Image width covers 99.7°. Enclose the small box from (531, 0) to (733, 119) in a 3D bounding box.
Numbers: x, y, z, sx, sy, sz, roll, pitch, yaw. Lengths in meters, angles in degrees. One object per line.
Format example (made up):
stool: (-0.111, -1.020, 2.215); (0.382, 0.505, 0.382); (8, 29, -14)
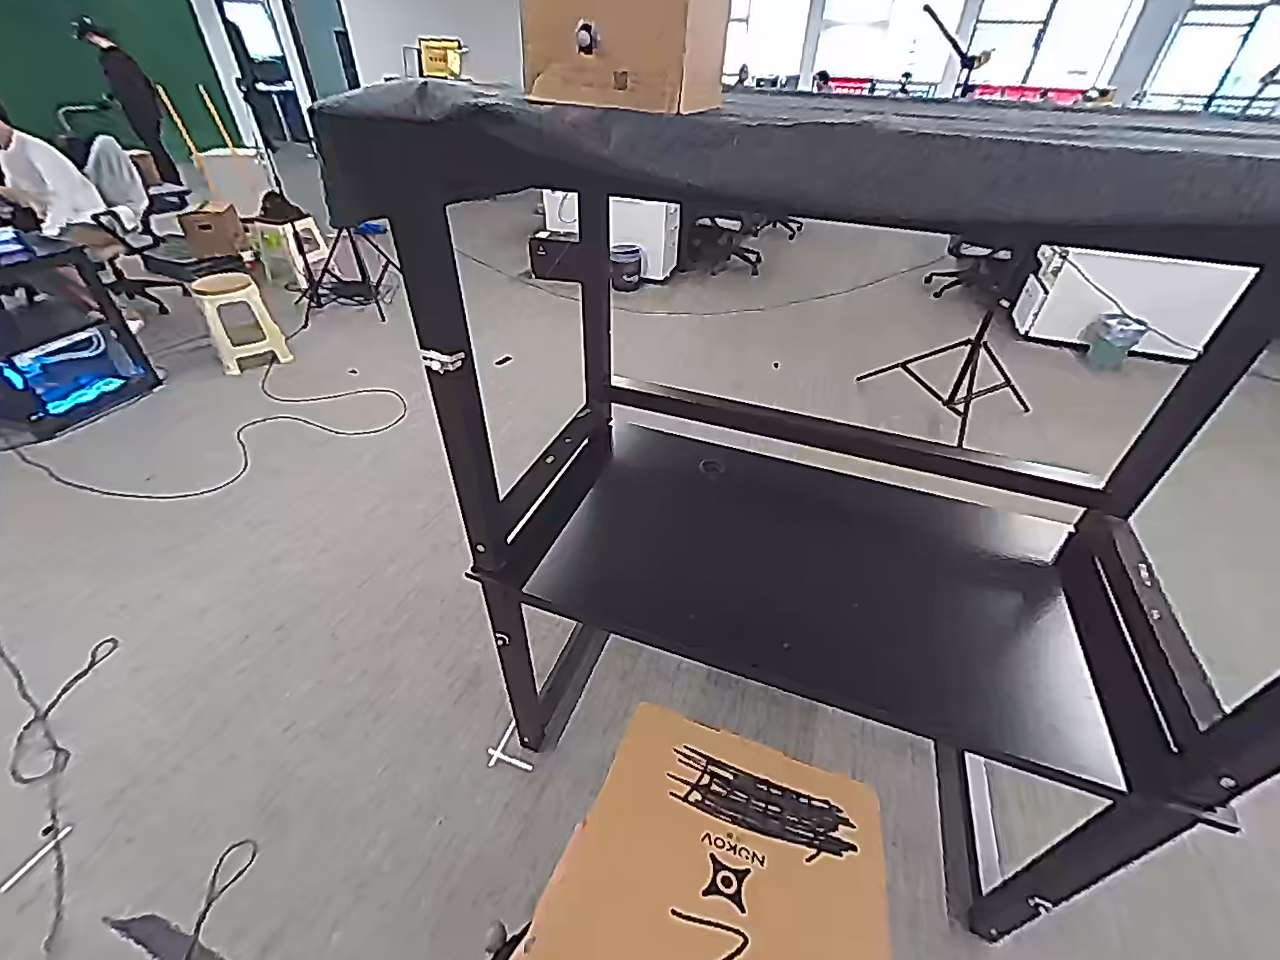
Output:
small box: (-0.004, -0.476, 0.544); (0.168, 0.176, 0.179); (14, 39, 13)
